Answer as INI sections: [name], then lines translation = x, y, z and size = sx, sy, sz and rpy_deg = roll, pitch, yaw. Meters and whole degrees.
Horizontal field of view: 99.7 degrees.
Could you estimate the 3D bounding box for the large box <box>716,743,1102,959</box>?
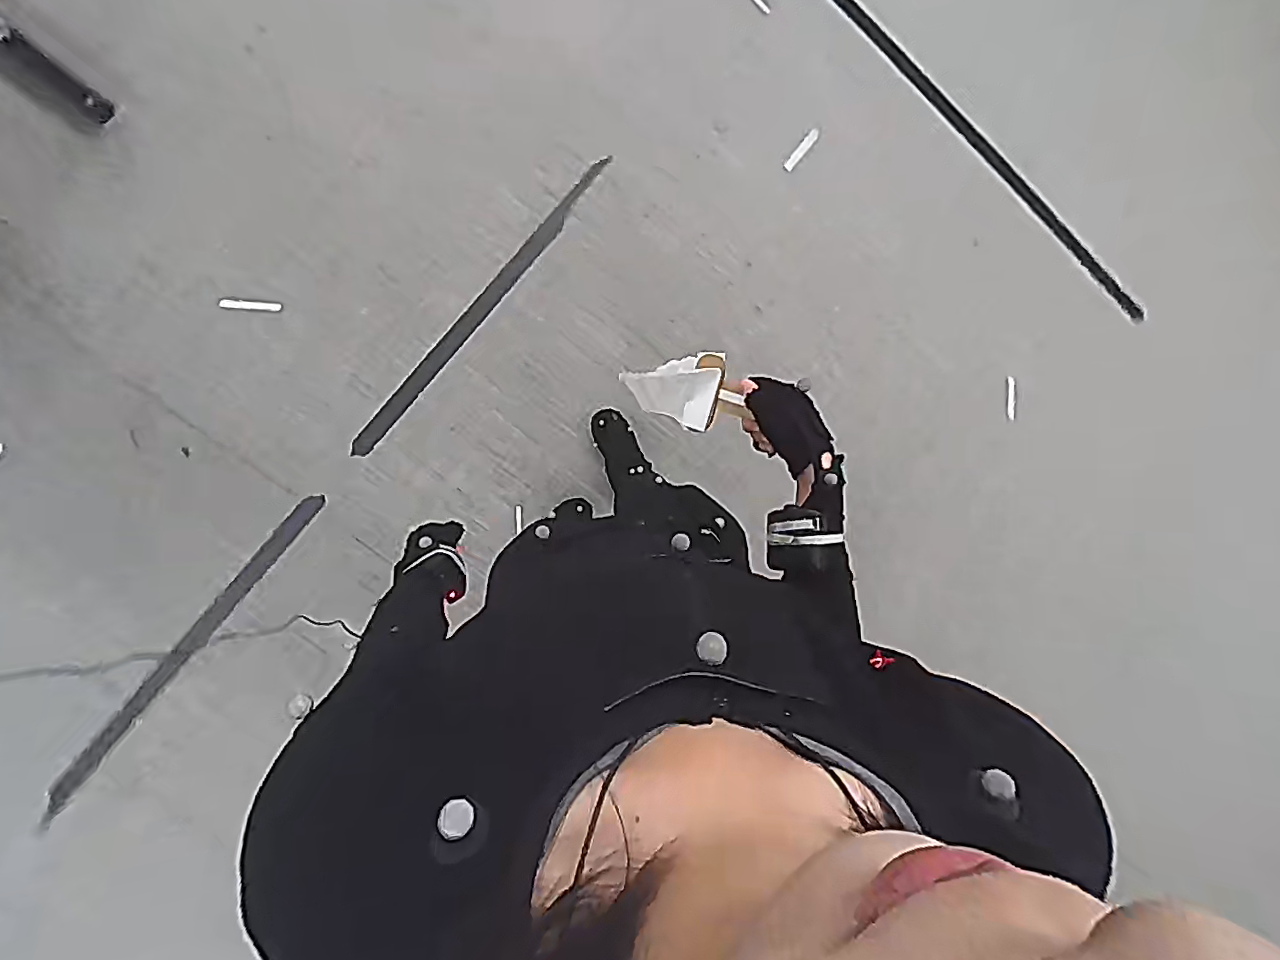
[large box]
translation = 0.391, 0.731, 0.863
size = 0.320, 0.320, 0.408
rpy_deg = 37, 87, -9
